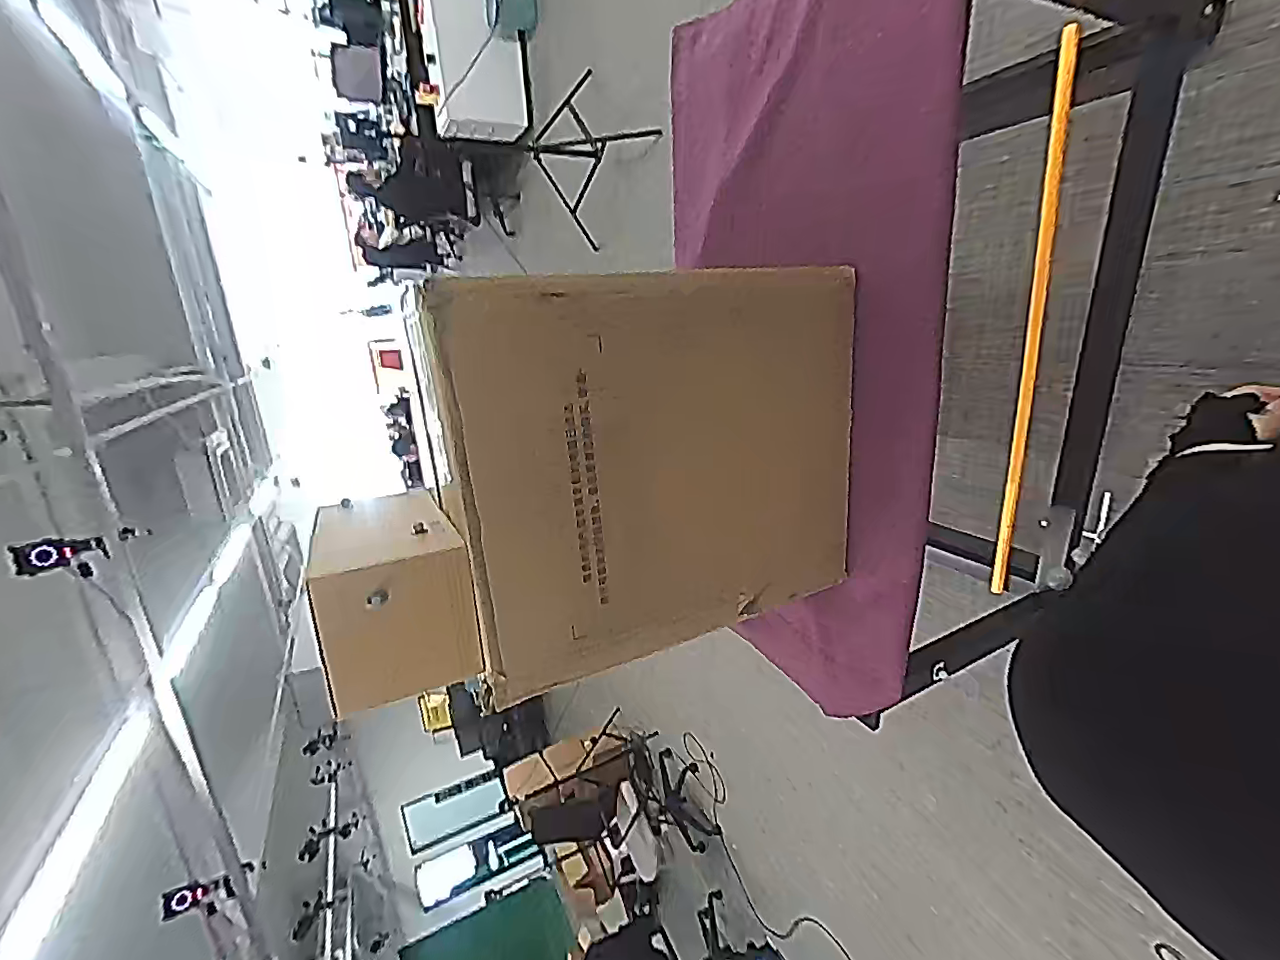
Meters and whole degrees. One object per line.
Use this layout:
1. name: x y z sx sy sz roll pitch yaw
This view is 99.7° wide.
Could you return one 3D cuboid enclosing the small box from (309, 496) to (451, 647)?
1. small box: -0.400 0.130 0.849 0.179 0.176 0.168 25 123 60
